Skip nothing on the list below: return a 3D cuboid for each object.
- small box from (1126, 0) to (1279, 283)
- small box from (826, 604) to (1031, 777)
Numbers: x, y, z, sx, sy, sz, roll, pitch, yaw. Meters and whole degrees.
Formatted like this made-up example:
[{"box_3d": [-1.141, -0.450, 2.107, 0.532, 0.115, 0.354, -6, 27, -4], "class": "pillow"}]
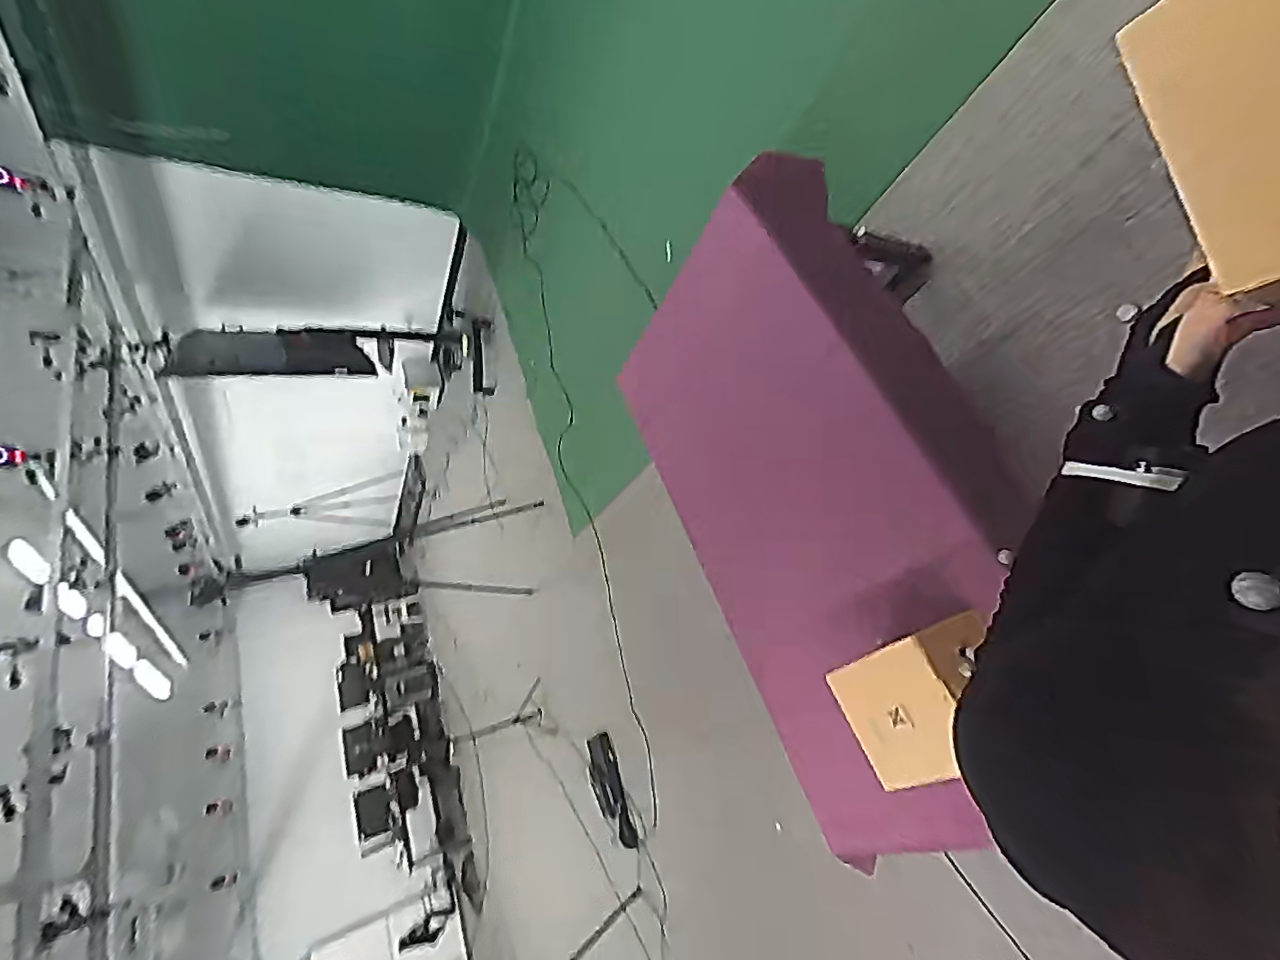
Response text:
[{"box_3d": [0.406, -0.219, 0.277, 0.179, 0.176, 0.168, -22, 81, 53], "class": "small box"}, {"box_3d": [0.416, 0.297, 0.778, 0.179, 0.176, 0.168, -54, 52, 46], "class": "small box"}]
